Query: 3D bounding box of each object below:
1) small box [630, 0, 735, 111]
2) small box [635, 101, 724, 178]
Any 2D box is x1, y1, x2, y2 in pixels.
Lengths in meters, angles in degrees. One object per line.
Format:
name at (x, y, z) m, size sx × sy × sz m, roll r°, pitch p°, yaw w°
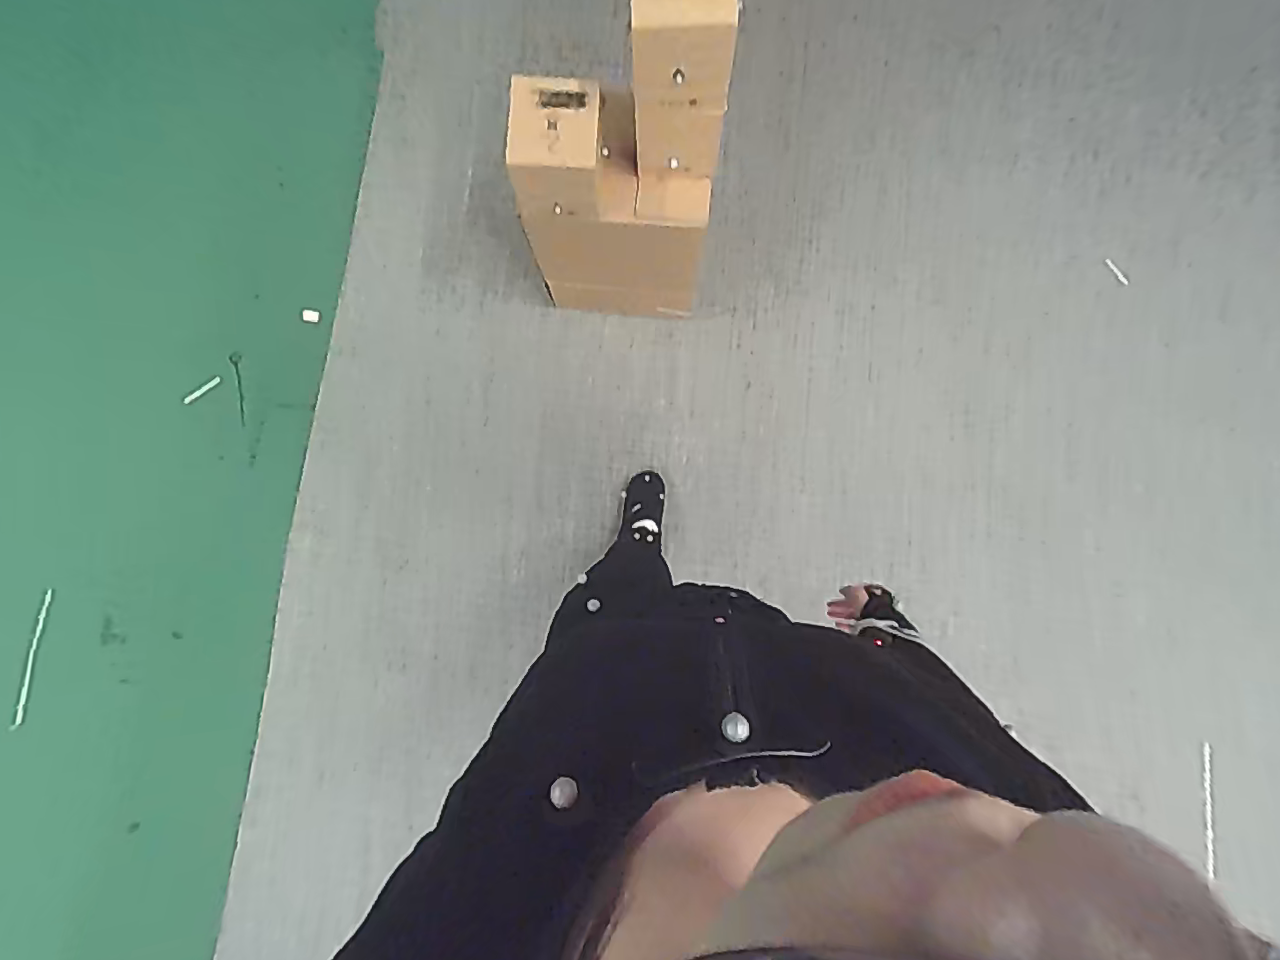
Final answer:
small box at (0.071, -0.765, 0.922) m, size 0.168 × 0.176 × 0.179 m, roll 0°, pitch 82°, yaw 2°
small box at (0.078, -0.744, 1.085) m, size 0.168 × 0.176 × 0.179 m, roll 2°, pitch 84°, yaw 3°
